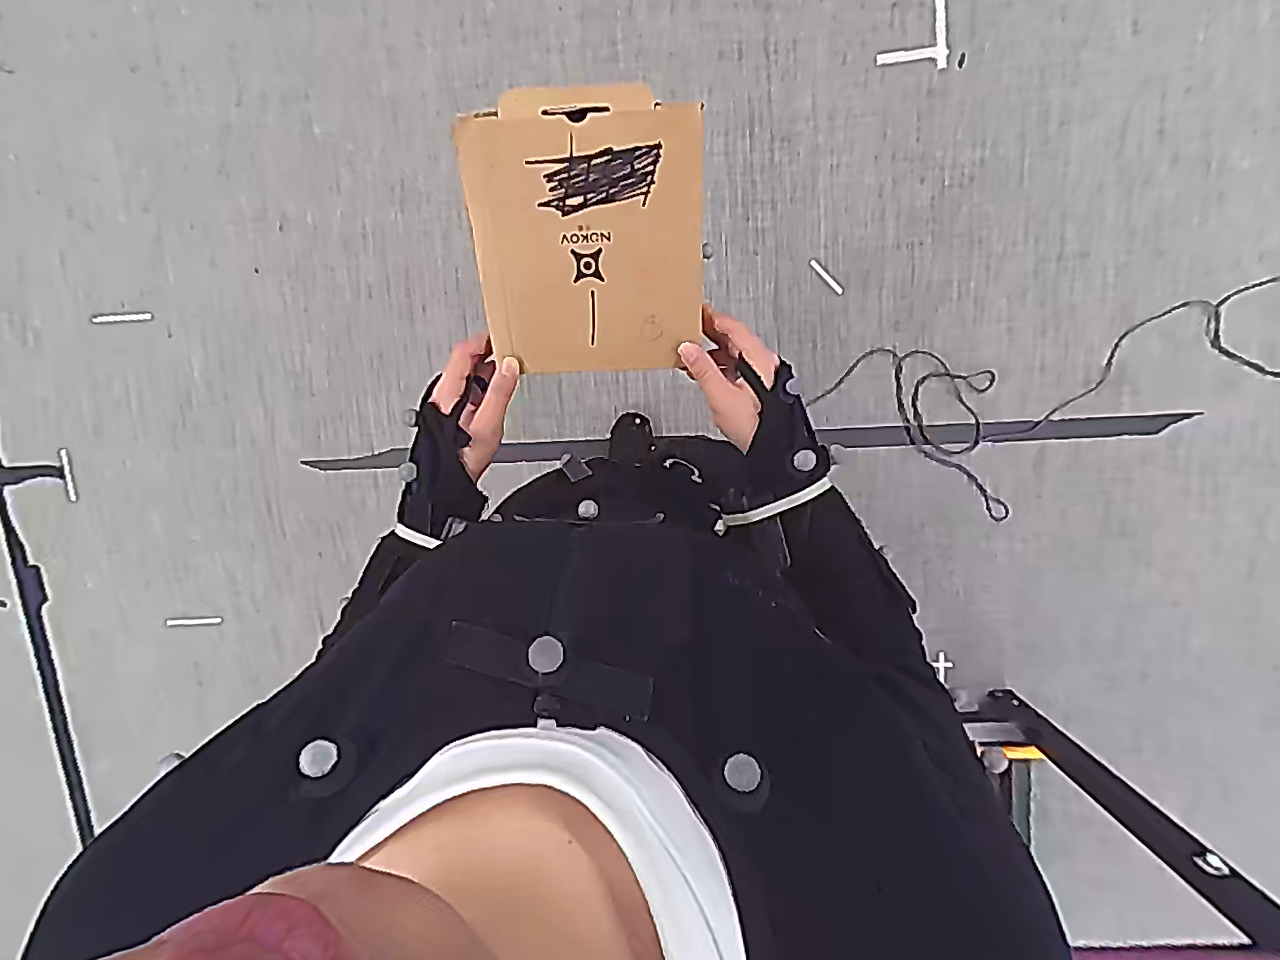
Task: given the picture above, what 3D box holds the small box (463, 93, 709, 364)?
[{"bbox_3d":[-0.034,-0.207,0.461,0.168,0.176,0.179,-1,117,2],"label":"small box"}]
